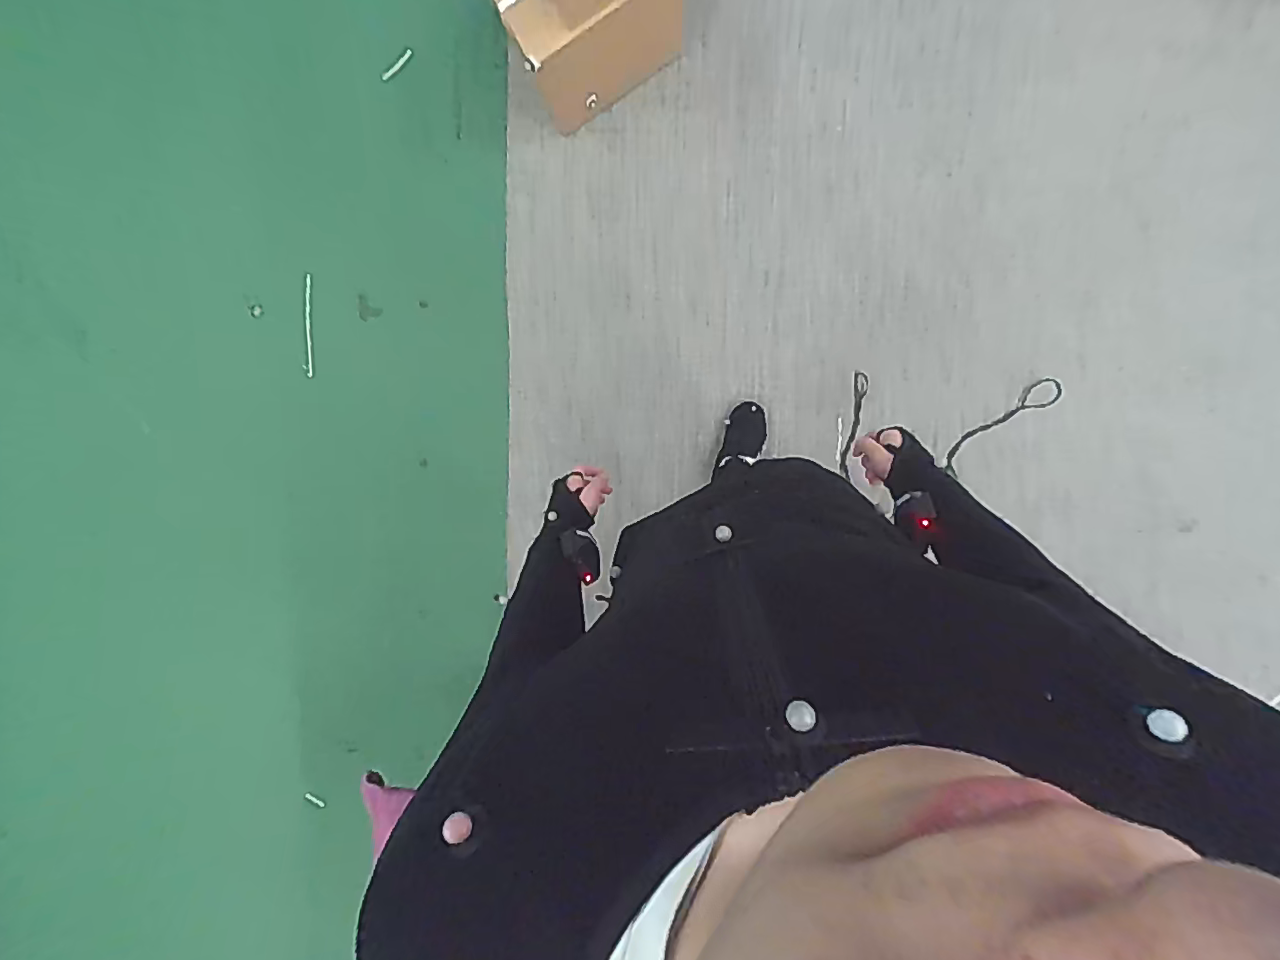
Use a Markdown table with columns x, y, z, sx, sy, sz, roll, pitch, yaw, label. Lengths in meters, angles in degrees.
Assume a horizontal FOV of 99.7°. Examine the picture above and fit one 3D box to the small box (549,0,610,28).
| x | y | z | sx | sy | sz | roll | pitch | yaw | label |
| --- | --- | --- | --- | --- | --- | --- | --- | --- | --- |
| -0.141 | -1.133 | 1.147 | 0.179 | 0.176 | 0.168 | -30 | 92 | 9 | small box |
